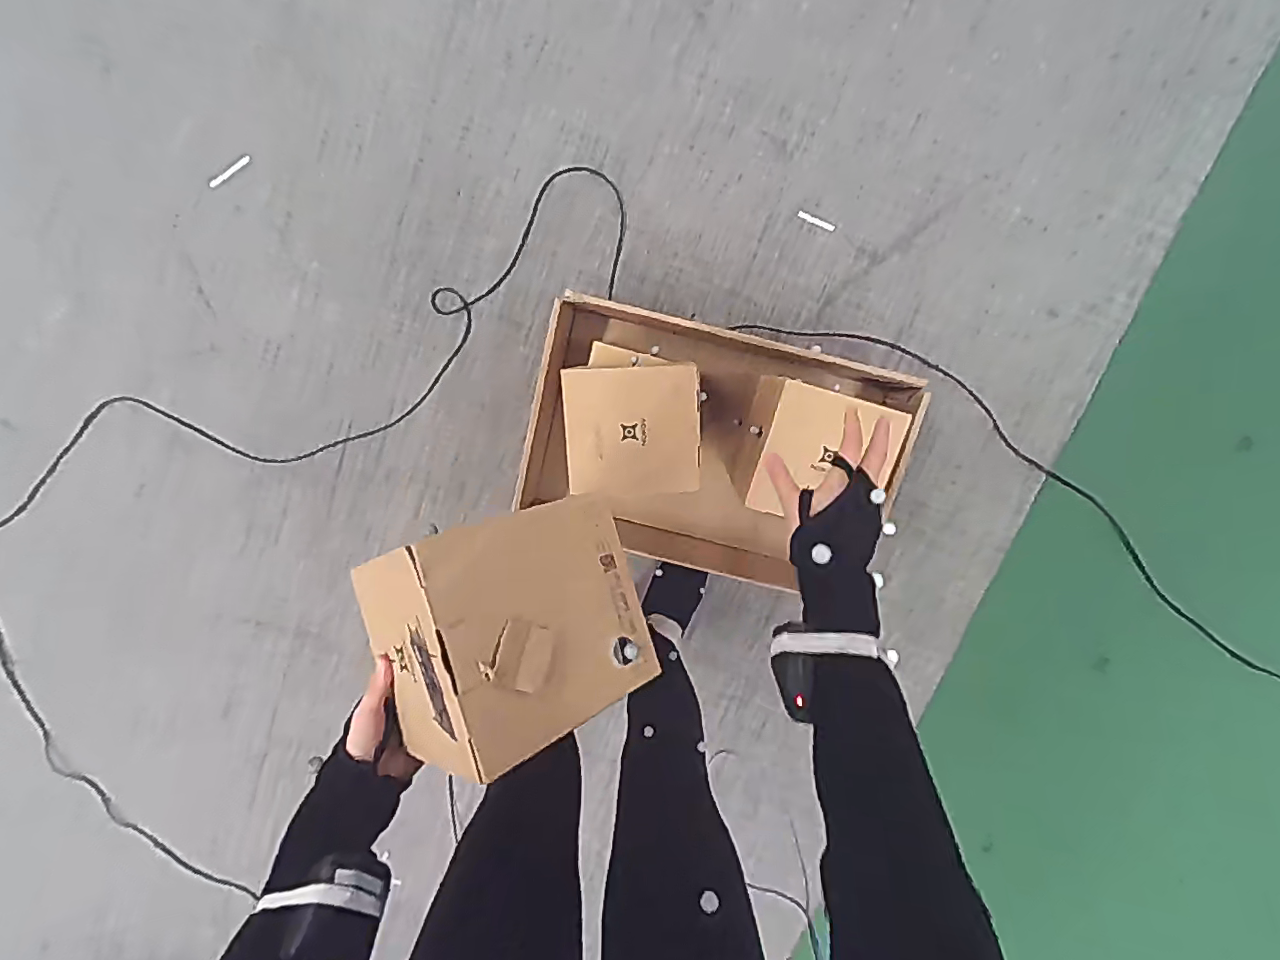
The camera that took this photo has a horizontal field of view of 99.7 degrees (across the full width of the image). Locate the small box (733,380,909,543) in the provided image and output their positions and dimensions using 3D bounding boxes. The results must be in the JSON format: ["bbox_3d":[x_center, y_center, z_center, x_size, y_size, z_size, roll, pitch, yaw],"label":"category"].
[{"bbox_3d":[0.239,-0.037,0.767,0.168,0.176,0.179,17,103,0],"label":"small box"}]

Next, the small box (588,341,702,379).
[{"bbox_3d":[-0.004,-0.132,0.929,0.179,0.176,0.168,15,103,-1],"label":"small box"}]

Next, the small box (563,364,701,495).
[{"bbox_3d":[-0.008,-0.079,0.775,0.179,0.176,0.168,-1,103,3],"label":"small box"}]

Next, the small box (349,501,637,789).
[{"bbox_3d":[-0.122,0.125,0.468,0.179,0.176,0.168,-20,87,50],"label":"small box"}]
